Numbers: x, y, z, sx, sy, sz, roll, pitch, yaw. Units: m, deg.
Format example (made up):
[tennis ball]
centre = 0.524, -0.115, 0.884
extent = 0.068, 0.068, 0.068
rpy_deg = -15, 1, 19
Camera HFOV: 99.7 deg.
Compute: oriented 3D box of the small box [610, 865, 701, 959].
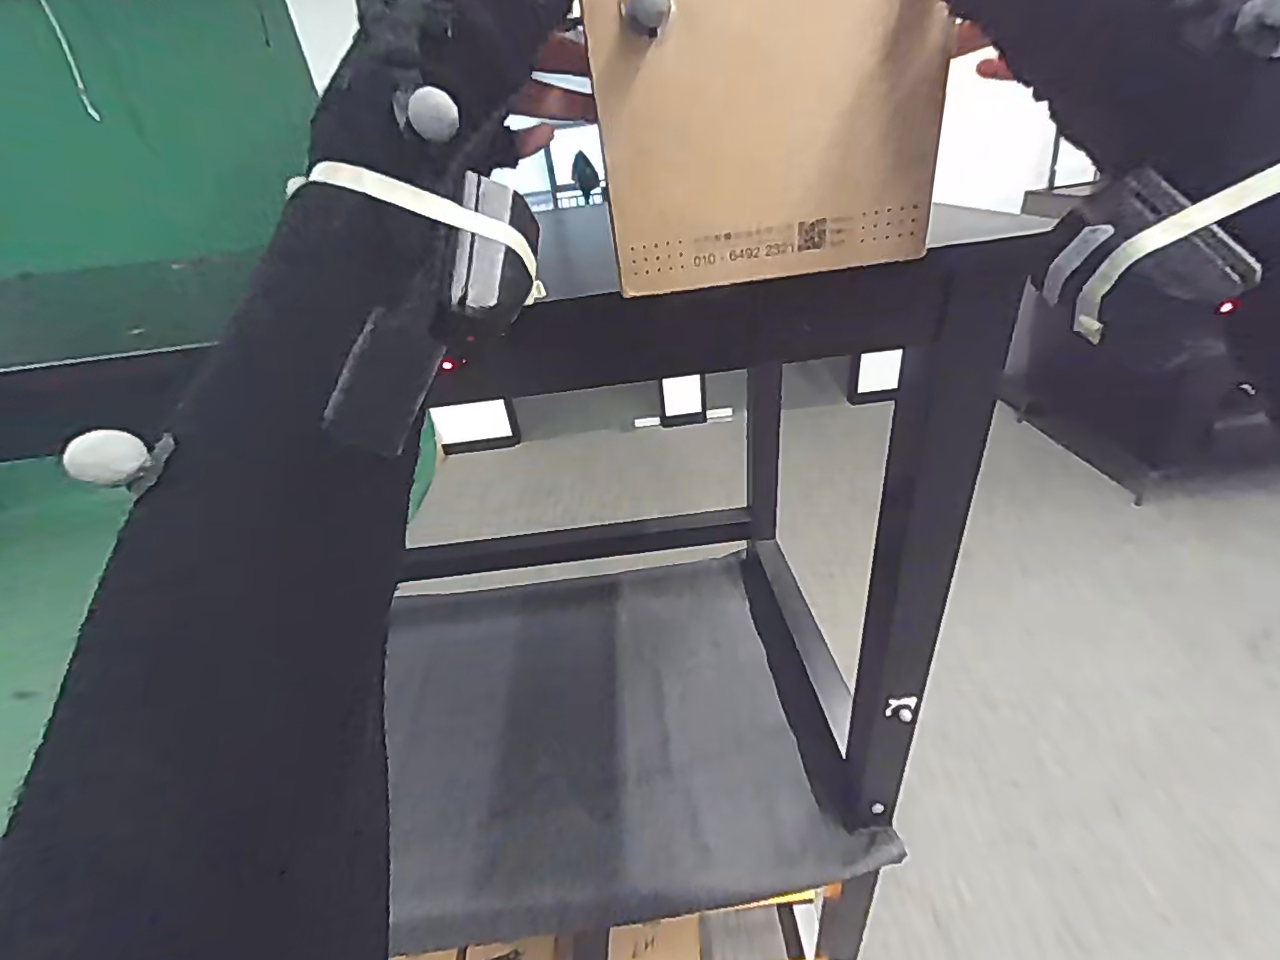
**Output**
[small box]
centre = 0.036, 0.920, 1.099
extent = 0.168, 0.176, 0.179
rpy_deg = -5, 34, 5
